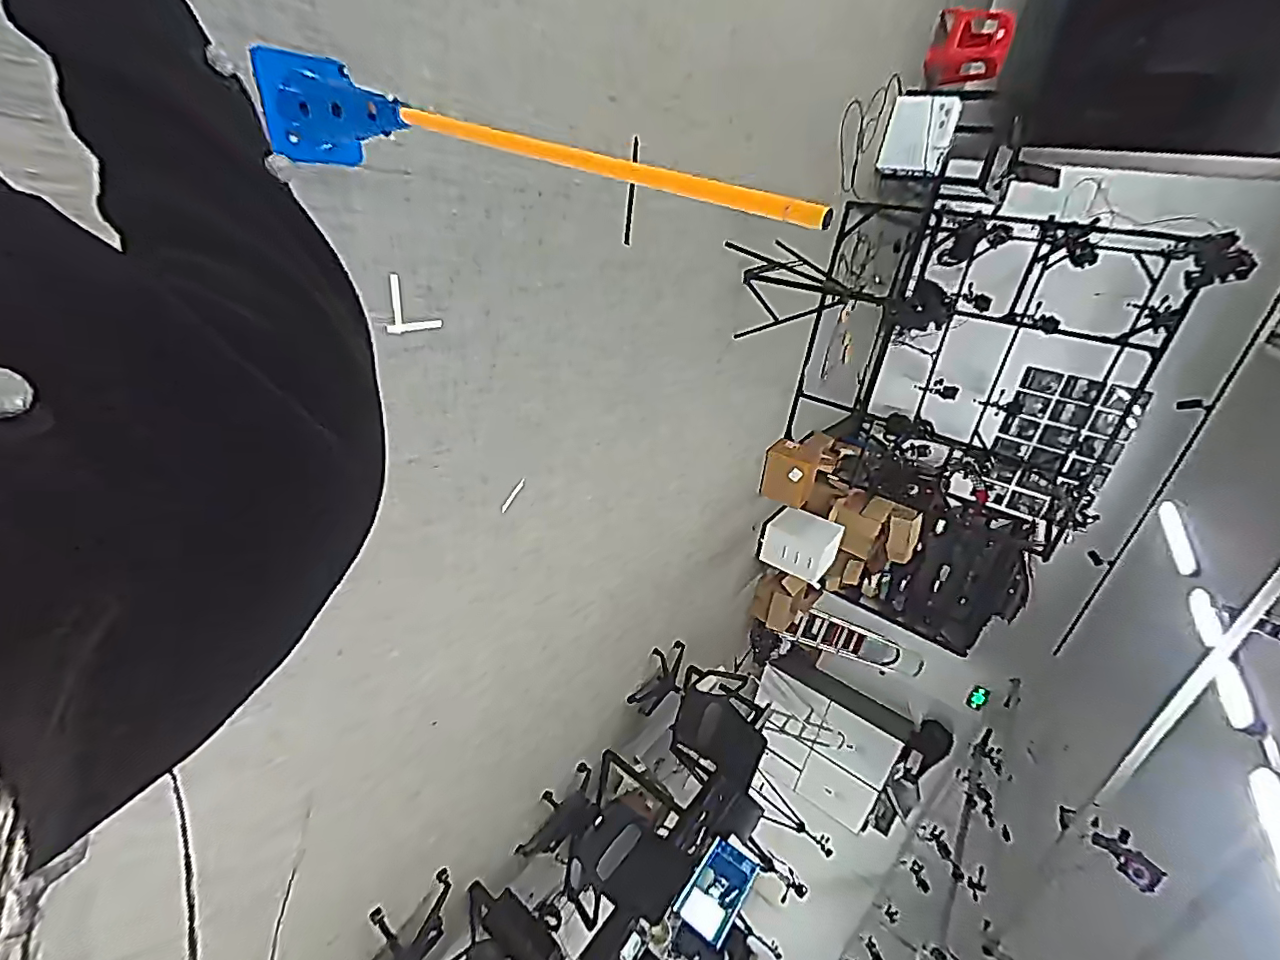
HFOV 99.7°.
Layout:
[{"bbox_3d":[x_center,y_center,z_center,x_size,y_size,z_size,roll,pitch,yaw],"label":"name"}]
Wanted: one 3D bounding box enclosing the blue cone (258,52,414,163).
[{"bbox_3d":[-0.581,-0.749,1.100,0.193,0.380,0.192,-30,134,-46],"label":"blue cone"}]
